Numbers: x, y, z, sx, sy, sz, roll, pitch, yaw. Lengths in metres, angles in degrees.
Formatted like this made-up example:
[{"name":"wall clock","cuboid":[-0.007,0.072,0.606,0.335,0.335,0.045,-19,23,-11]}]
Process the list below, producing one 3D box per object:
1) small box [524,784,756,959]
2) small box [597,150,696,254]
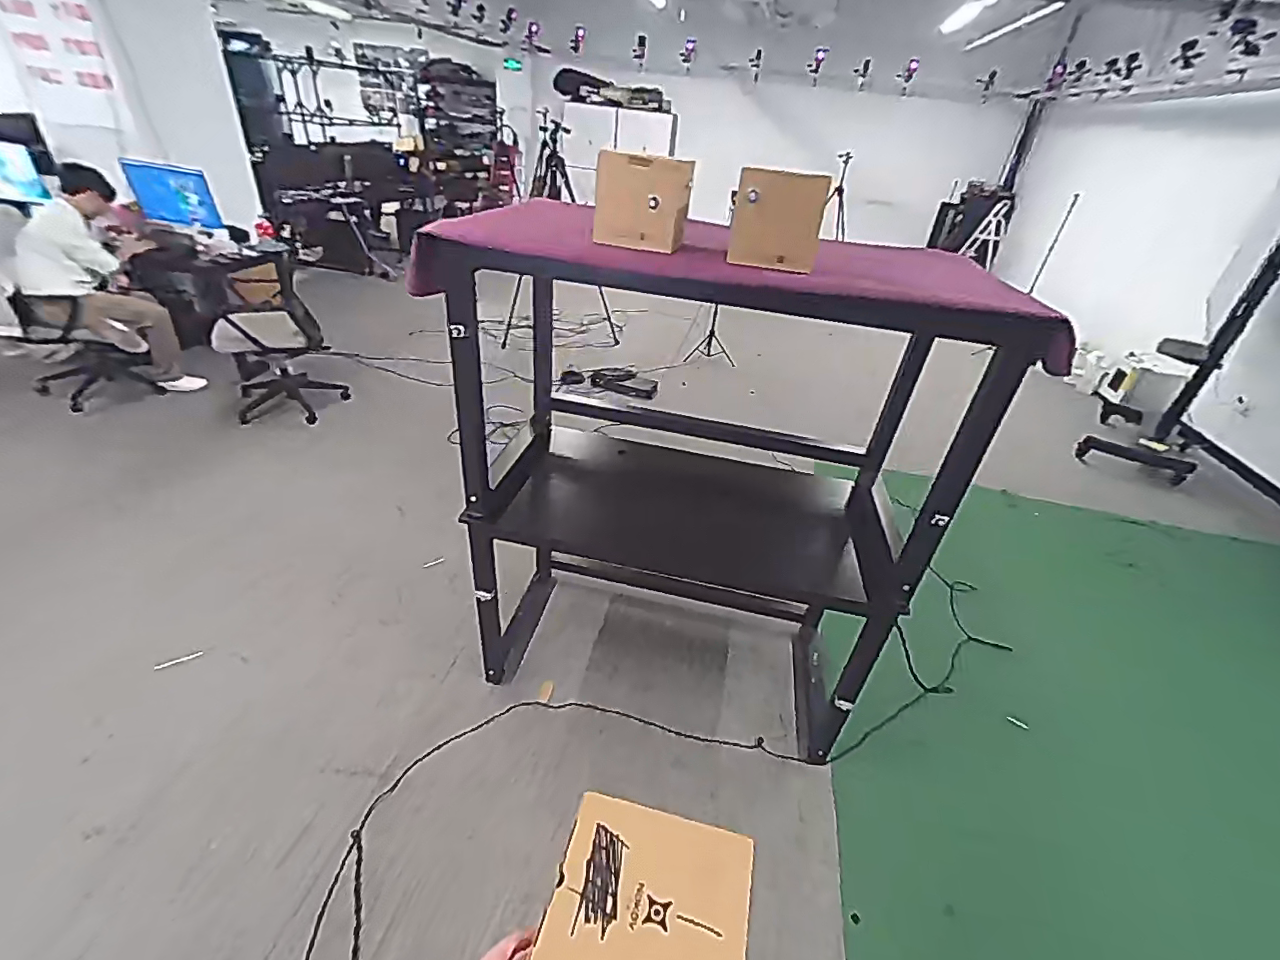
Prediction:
[{"name":"small box","cuboid":[0.005,0.435,0.515,0.179,0.176,0.168,10,33,11]},{"name":"small box","cuboid":[0.012,-0.576,1.121,0.168,0.176,0.179,13,32,8]}]
